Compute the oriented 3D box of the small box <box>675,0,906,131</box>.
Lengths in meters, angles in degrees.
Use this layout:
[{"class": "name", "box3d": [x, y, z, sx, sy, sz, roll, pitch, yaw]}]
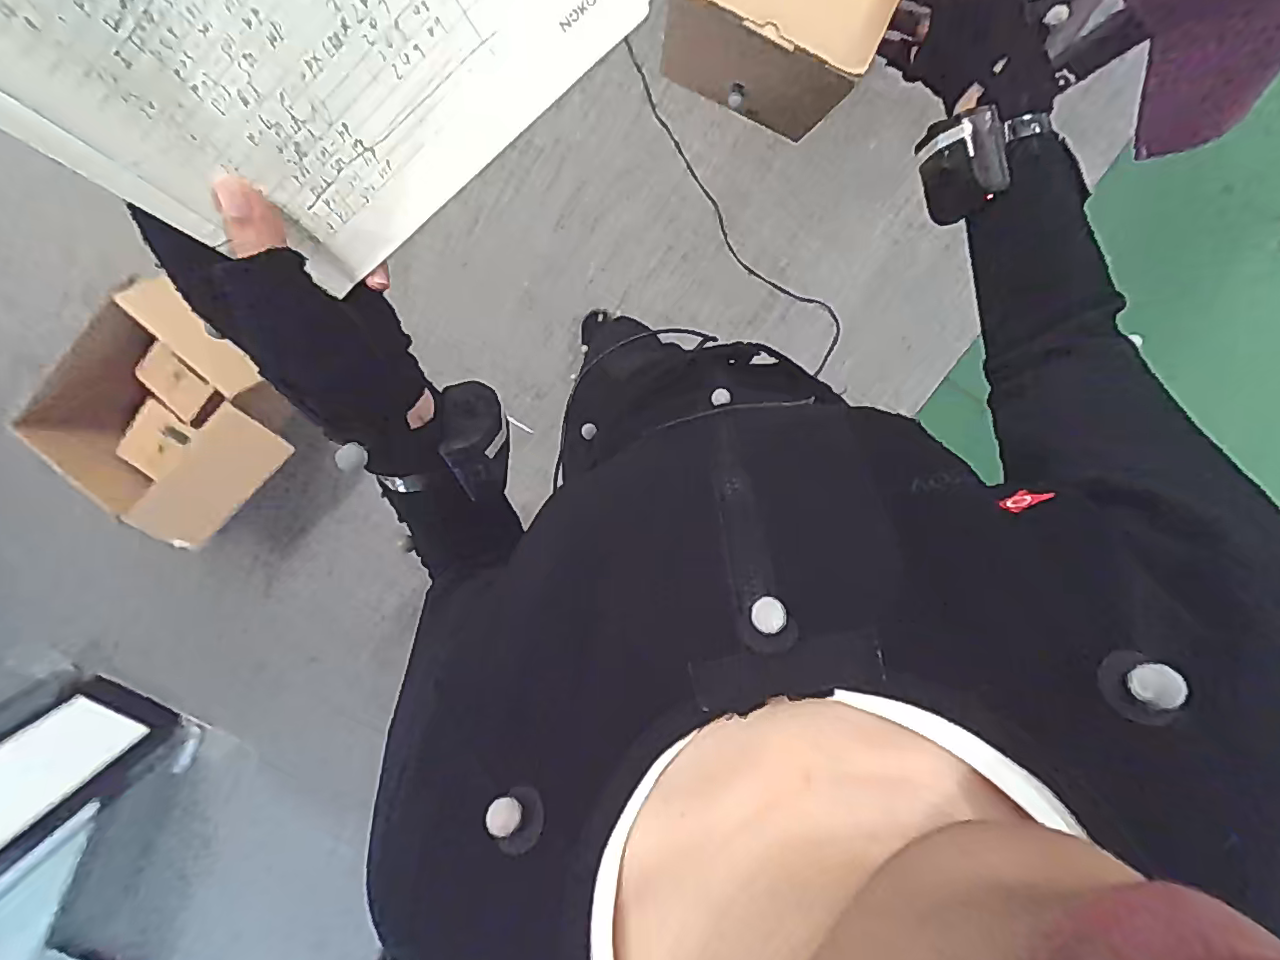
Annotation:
[{"class": "small box", "box3d": [0.138, -0.447, 0.464, 0.168, 0.176, 0.179, 22, 106, -8]}]
